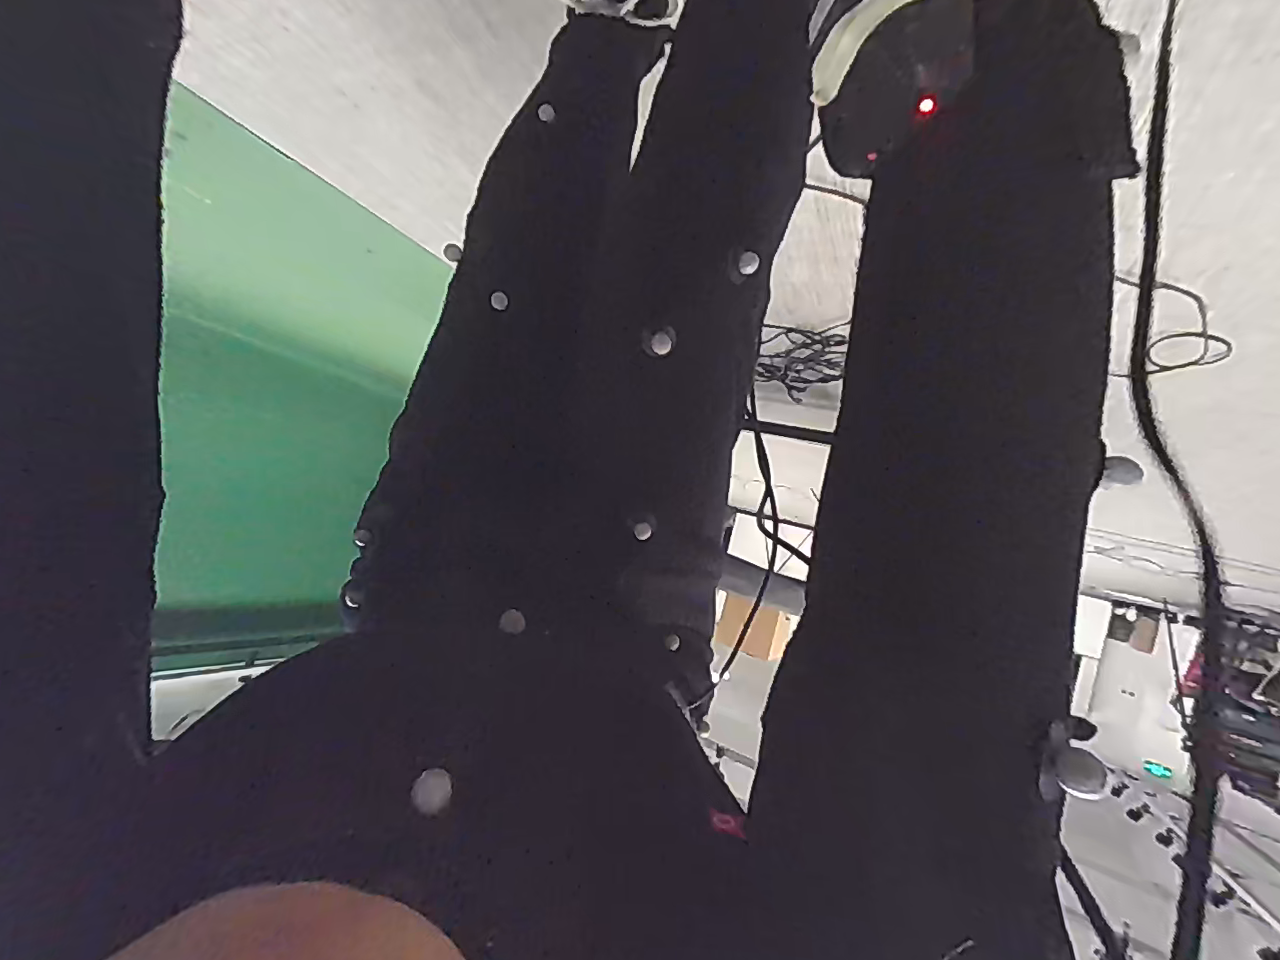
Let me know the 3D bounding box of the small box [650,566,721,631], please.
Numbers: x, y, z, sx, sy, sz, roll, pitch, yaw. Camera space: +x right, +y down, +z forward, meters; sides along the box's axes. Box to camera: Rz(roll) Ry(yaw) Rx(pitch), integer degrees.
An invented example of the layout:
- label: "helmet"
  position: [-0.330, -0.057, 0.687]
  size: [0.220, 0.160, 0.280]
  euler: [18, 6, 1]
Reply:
- label: "small box"
  position: [0.160, 0.393, 1.818]
  size: [0.179, 0.176, 0.168]
  euler: [13, 177, 32]
